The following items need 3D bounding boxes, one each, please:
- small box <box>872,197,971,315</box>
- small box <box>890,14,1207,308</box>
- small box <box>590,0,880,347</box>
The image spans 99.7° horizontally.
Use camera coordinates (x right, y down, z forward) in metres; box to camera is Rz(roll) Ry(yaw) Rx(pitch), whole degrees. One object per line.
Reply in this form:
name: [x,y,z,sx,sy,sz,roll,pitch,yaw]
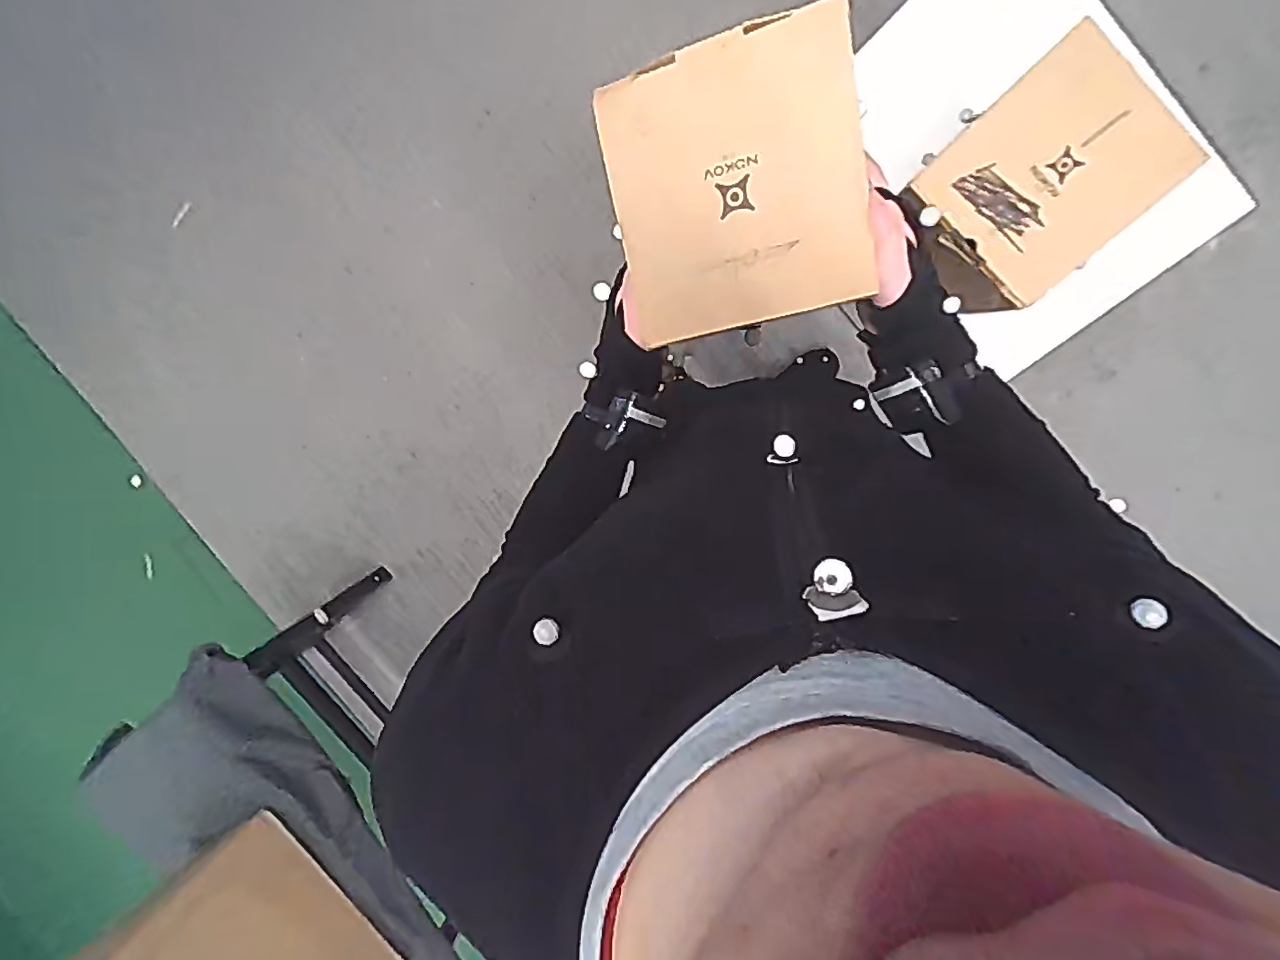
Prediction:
small box: [0.421,-0.341,0.715,0.168,0.176,0.179,46,108,-1]
small box: [0.387,-0.299,0.559,0.168,0.176,0.179,46,108,-2]
small box: [0.080,-0.213,0.432,0.168,0.176,0.179,-11,103,18]
